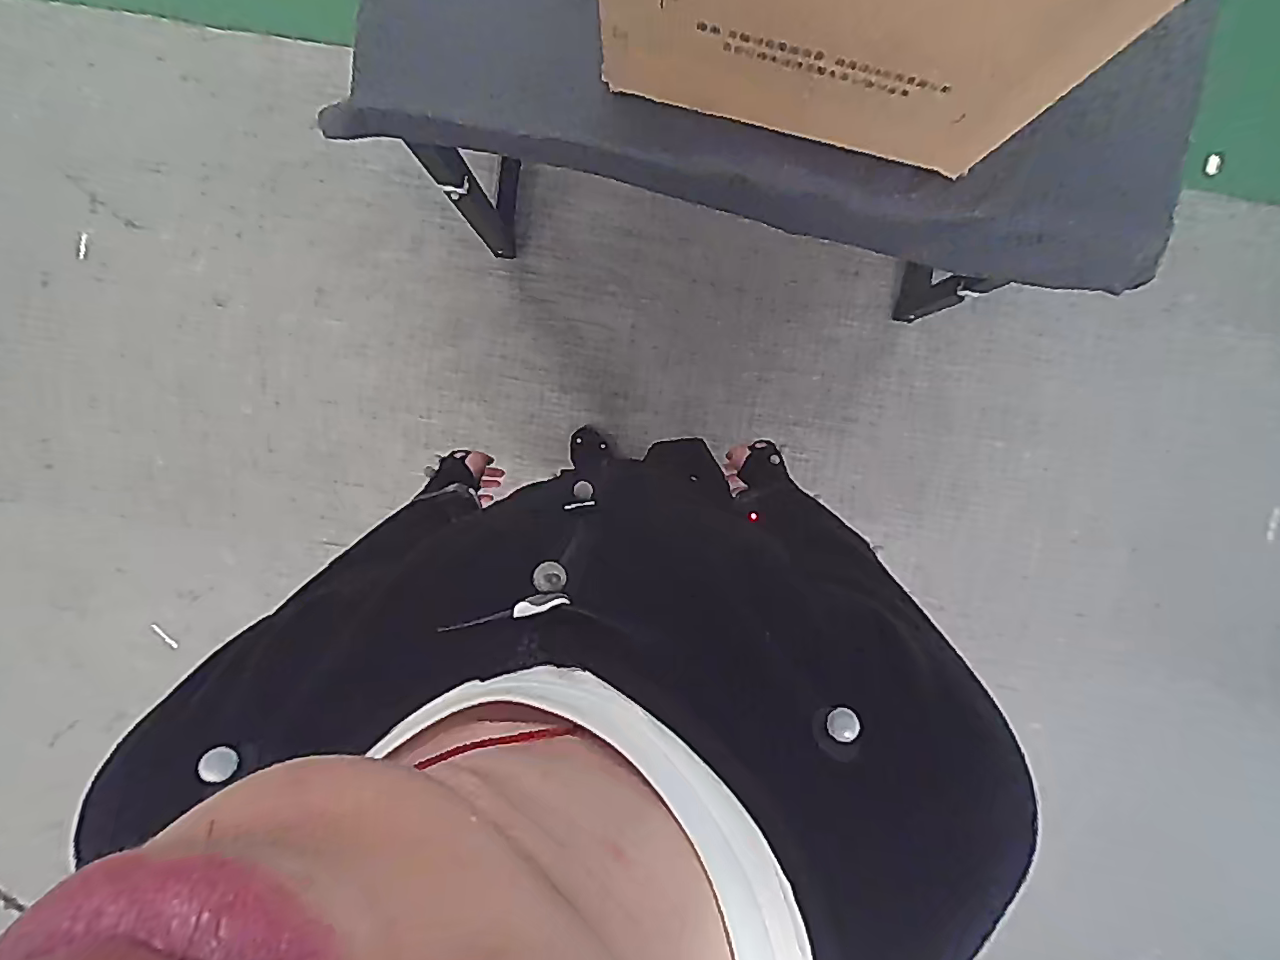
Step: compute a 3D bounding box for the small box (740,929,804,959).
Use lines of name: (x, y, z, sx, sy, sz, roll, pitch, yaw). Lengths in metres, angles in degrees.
small box: (0.416, 1.556, 1.695, 0.179, 0.176, 0.168, 6, 96, -4)
